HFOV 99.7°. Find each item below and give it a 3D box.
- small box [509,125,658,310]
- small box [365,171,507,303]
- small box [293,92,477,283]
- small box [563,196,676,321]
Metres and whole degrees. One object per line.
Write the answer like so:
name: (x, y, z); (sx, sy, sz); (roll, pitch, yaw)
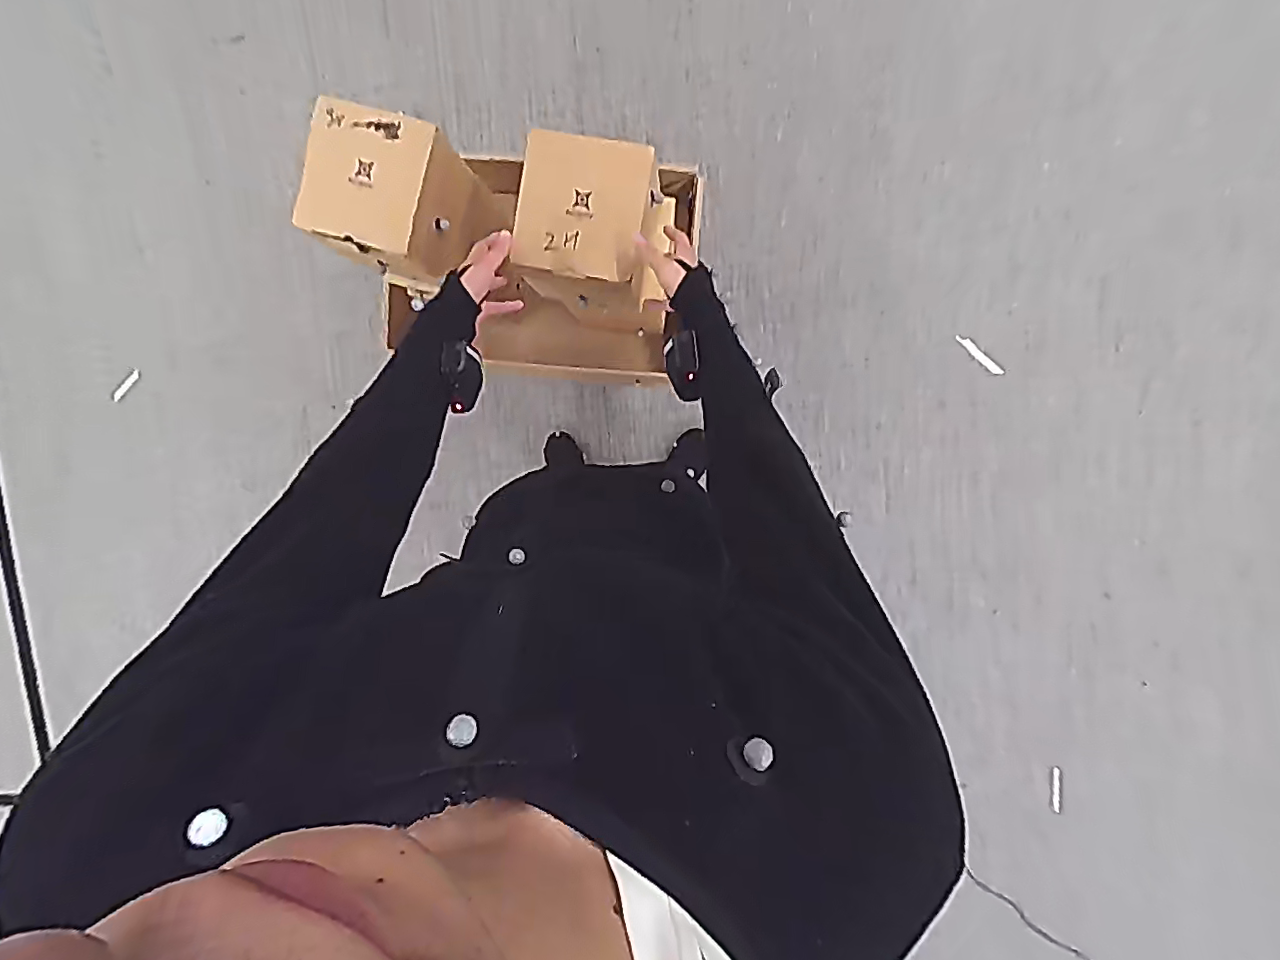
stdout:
small box: (-0.070, -0.361, 0.774); (0.168, 0.176, 0.179); (11, 96, 4)
small box: (-0.347, -0.427, 0.950); (0.168, 0.176, 0.179); (13, 95, 3)
small box: (-0.357, -0.407, 0.786); (0.168, 0.176, 0.179); (17, 96, 2)
small box: (-0.034, -0.380, 0.935); (0.179, 0.176, 0.168); (8, 95, 4)
